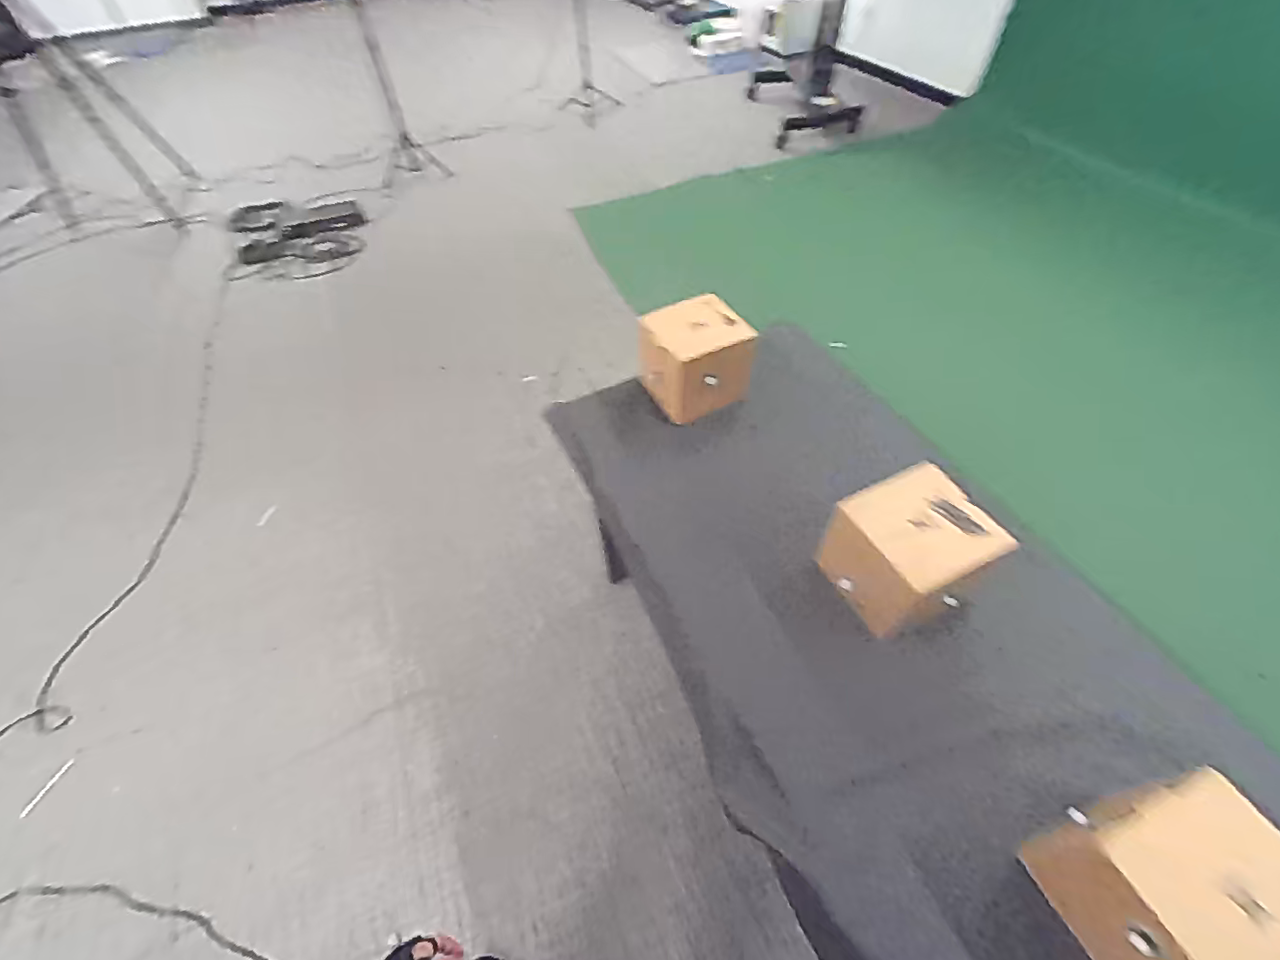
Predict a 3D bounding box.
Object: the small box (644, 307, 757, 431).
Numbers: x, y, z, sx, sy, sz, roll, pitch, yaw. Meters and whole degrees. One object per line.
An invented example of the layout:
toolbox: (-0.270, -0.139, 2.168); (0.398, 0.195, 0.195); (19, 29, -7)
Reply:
small box: (0.123, -0.230, 1.139); (0.179, 0.176, 0.168); (-23, 55, -15)

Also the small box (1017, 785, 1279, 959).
small box: (0.560, 0.462, 0.575); (0.168, 0.176, 0.179); (-20, 54, -12)

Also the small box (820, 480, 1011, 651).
small box: (0.410, 0.135, 0.840); (0.179, 0.176, 0.168); (-21, 54, -13)
